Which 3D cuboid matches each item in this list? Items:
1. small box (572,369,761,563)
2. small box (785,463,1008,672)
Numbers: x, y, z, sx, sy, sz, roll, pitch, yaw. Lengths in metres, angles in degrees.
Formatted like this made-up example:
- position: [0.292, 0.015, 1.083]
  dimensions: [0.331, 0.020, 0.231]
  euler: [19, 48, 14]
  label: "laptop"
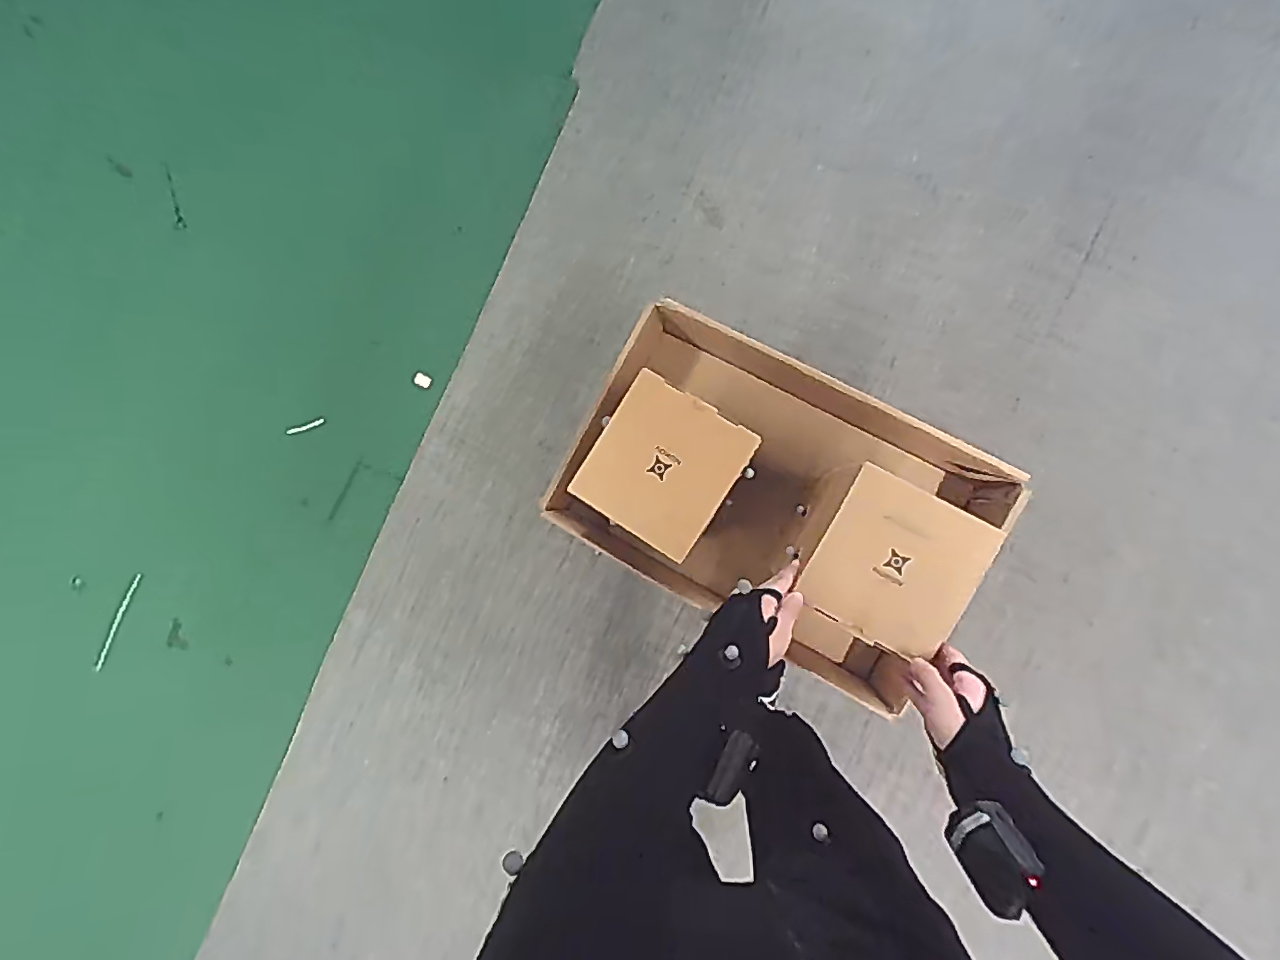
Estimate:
- position: [0.041, -0.014, 0.713]
  dimensions: [0.168, 0.176, 0.179]
  euler: [33, 92, 8]
  label: "small box"
- position: [0.294, 0.098, 0.668]
  dimensions: [0.168, 0.176, 0.179]
  euler: [30, 92, 7]
  label: "small box"
